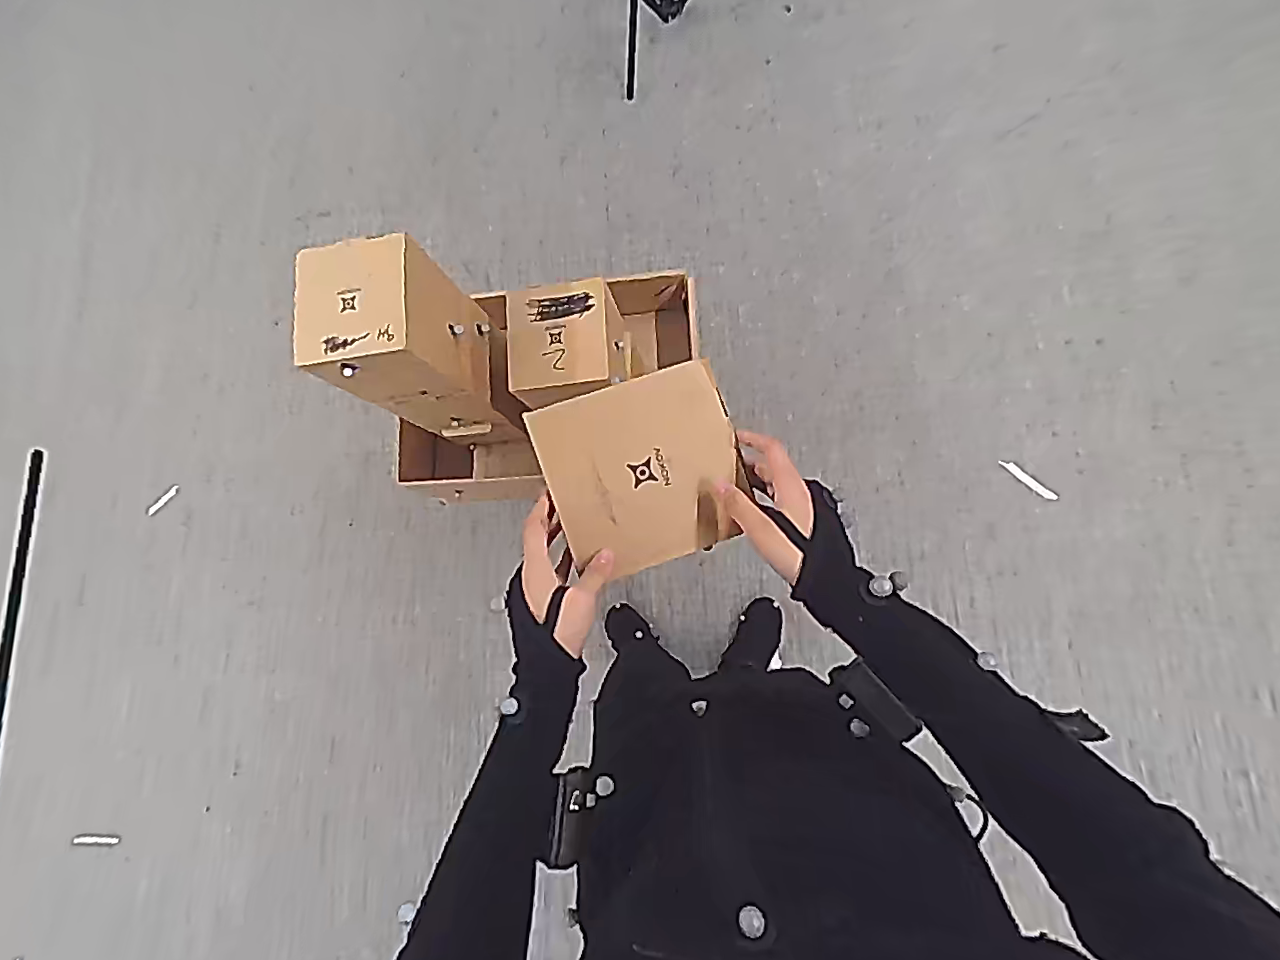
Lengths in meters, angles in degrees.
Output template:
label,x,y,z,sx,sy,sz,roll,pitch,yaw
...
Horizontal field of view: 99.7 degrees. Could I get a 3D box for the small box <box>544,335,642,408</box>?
label,x,y,z,sx,sy,sz,roll,pitch,yaw
small box,-0.087,-0.172,1.092,0.168,0.176,0.179,-2,80,10

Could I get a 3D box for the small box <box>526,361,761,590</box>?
label,x,y,z,sx,sy,sz,roll,pitch,yaw
small box,-0.004,-0.004,0.558,0.179,0.176,0.168,-19,89,-6

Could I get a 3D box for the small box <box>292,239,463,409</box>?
label,x,y,z,sx,sy,sz,roll,pitch,yaw
small box,-0.379,-0.223,0.808,0.168,0.176,0.179,-7,78,8

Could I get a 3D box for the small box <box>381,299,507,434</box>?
label,x,y,z,sx,sy,sz,roll,pitch,yaw
small box,-0.347,-0.194,0.967,0.168,0.176,0.179,-6,79,8
